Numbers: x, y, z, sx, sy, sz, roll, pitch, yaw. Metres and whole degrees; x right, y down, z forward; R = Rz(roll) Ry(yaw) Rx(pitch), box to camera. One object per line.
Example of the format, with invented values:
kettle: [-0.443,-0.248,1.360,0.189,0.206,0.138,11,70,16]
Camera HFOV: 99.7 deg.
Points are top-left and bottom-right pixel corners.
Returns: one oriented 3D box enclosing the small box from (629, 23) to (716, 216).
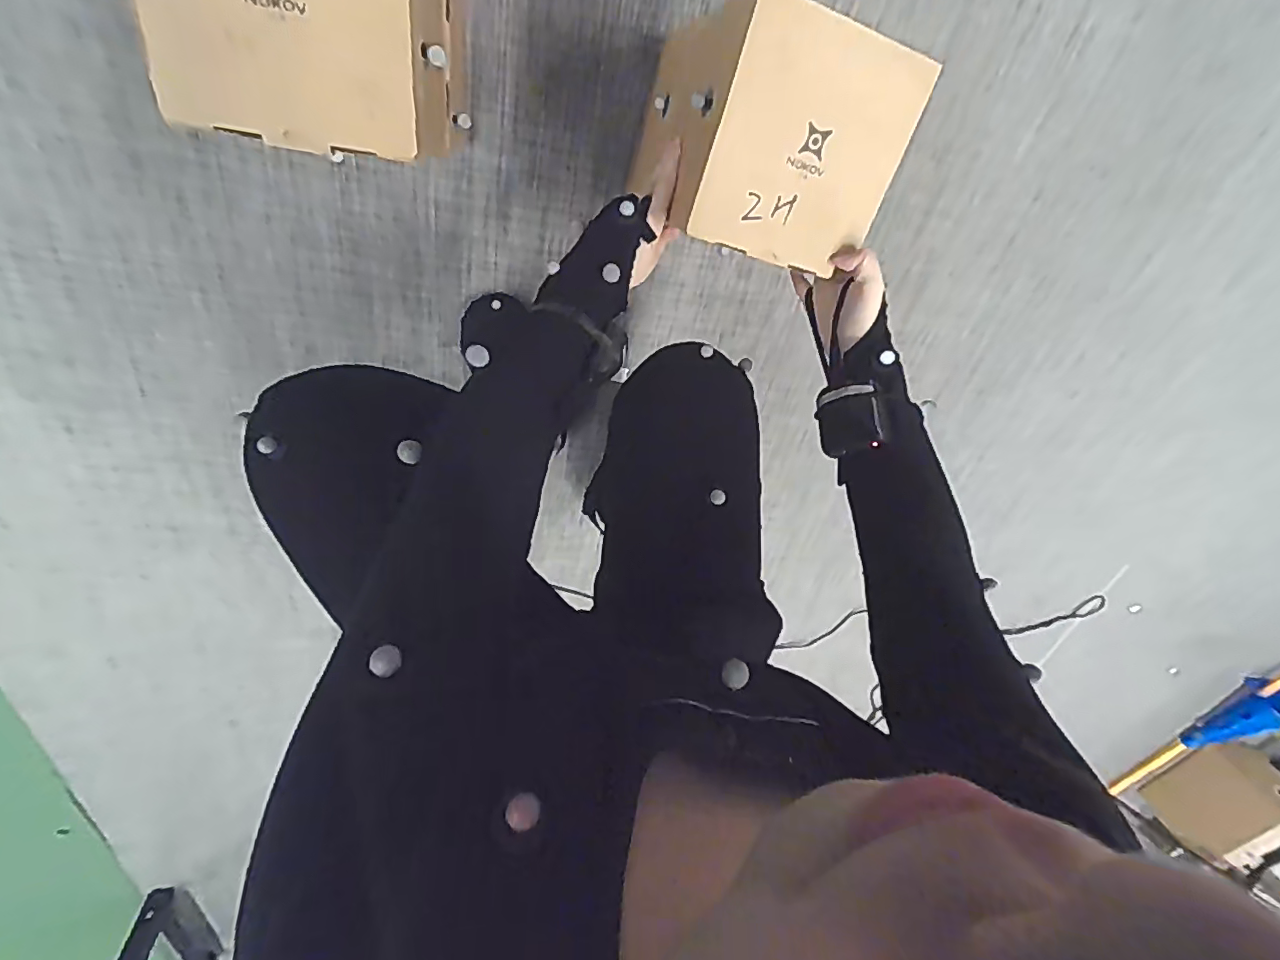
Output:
small box: [0.095,-0.400,0.648,0.168,0.176,0.179,9,122,-18]

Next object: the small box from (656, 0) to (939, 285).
small box: [0.126,-0.309,0.512,0.168,0.176,0.179,9,119,-18]

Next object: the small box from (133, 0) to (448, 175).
small box: [-0.241,-0.349,0.406,0.168,0.176,0.179,2,124,-14]
